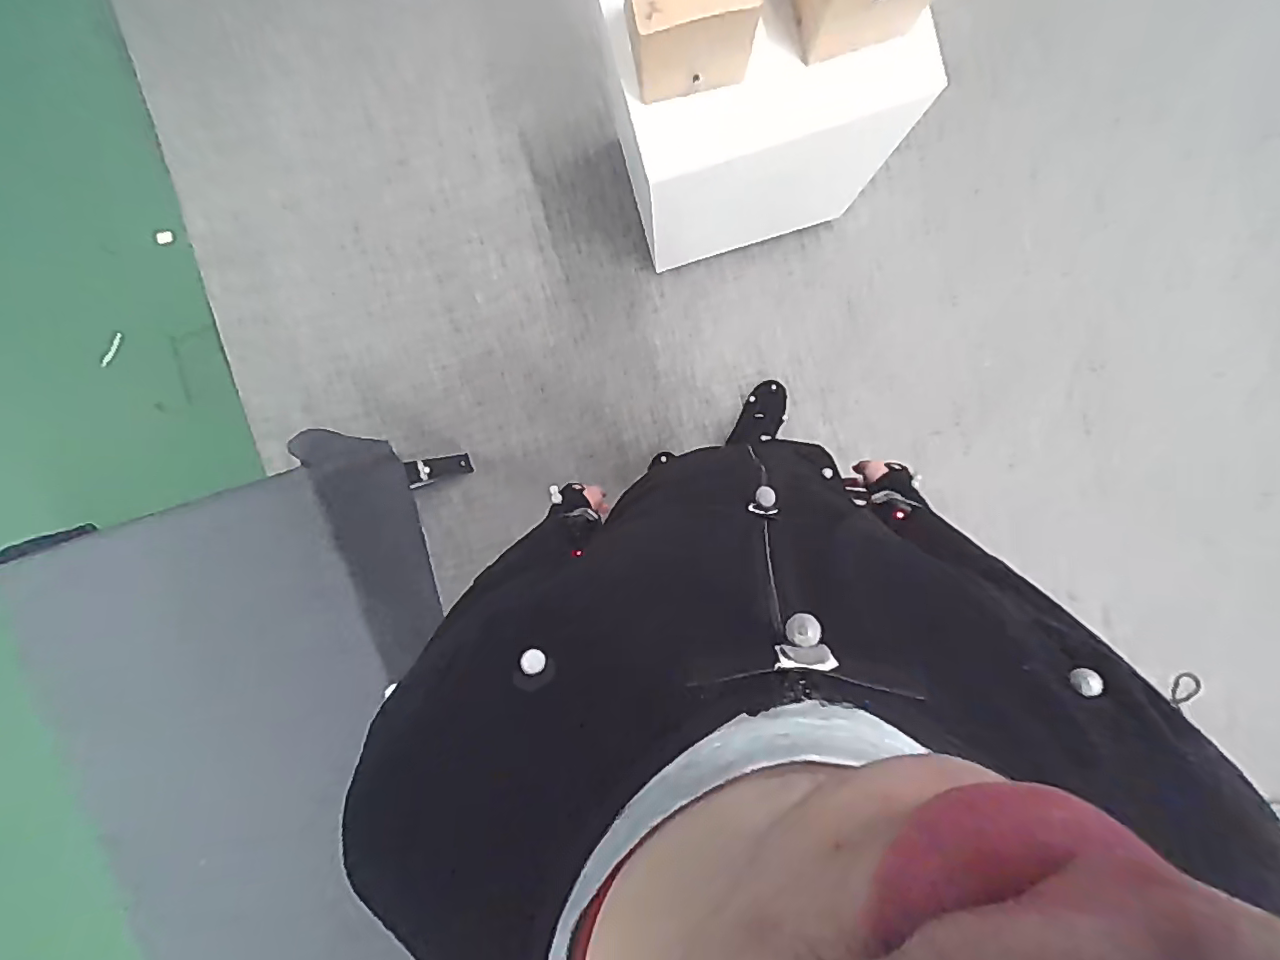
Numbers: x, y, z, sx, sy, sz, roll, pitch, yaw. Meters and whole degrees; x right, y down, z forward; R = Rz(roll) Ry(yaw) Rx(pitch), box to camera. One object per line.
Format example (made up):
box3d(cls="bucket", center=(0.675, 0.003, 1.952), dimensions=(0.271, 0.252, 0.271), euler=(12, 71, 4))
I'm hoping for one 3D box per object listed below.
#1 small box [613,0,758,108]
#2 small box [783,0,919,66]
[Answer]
box3d(cls="small box", center=(0.058, -0.696, 0.801), dimensions=(0.179, 0.176, 0.168), euler=(-12, 94, 0))
box3d(cls="small box", center=(0.316, -0.759, 0.793), dimensions=(0.179, 0.176, 0.168), euler=(-16, 94, 1))
